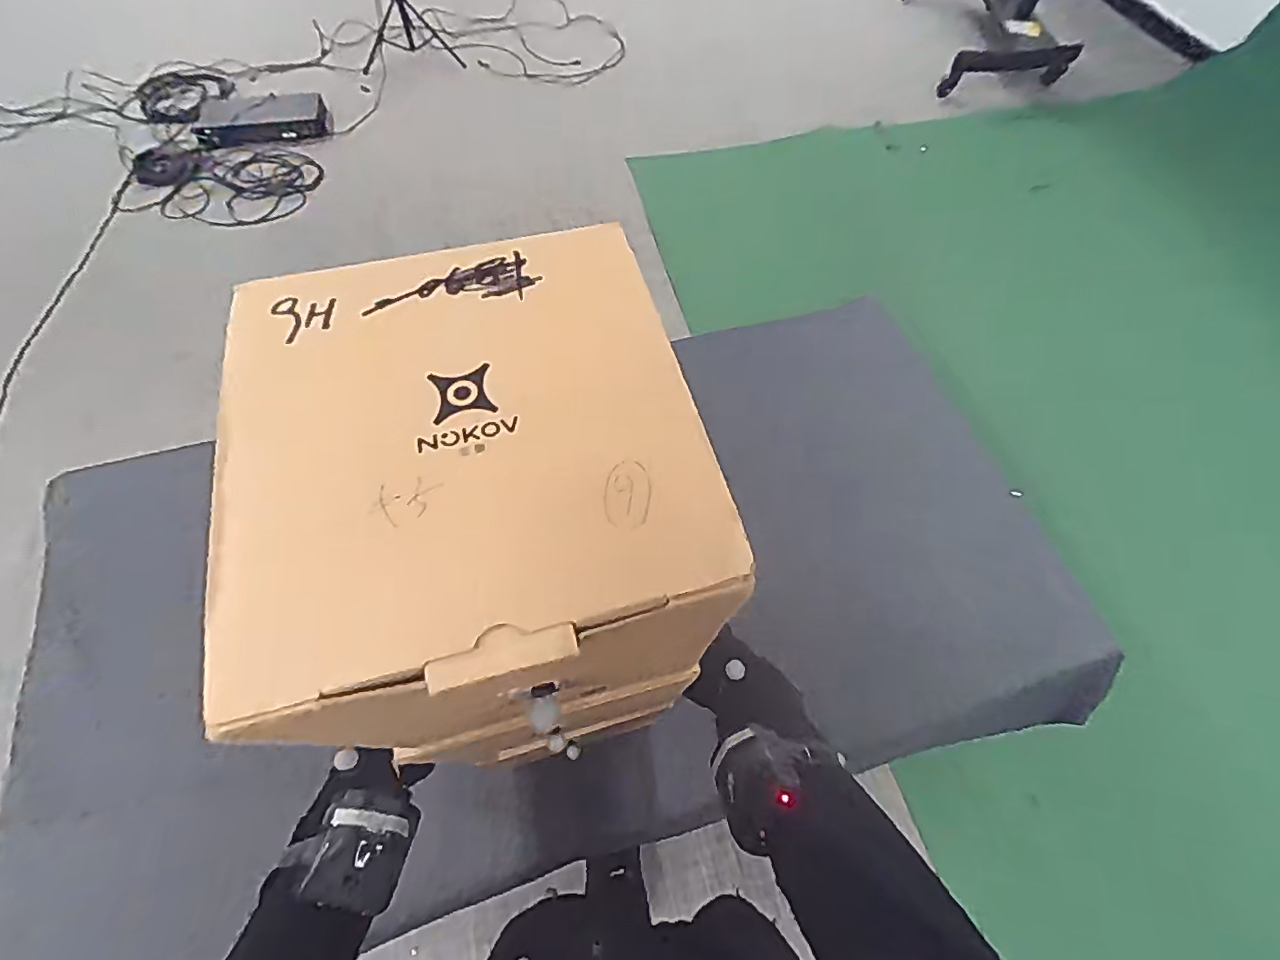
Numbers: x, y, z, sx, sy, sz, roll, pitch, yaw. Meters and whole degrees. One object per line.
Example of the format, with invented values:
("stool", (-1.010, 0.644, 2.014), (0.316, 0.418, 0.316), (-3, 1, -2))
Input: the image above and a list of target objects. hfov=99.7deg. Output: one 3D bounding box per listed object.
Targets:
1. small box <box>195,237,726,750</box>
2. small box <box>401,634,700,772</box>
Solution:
("small box", (-0.071, 0.018, 0.270), (0.168, 0.176, 0.179), (-13, 65, -8))
("small box", (-0.074, 0.103, 0.411), (0.179, 0.176, 0.168), (-15, 65, -11))
